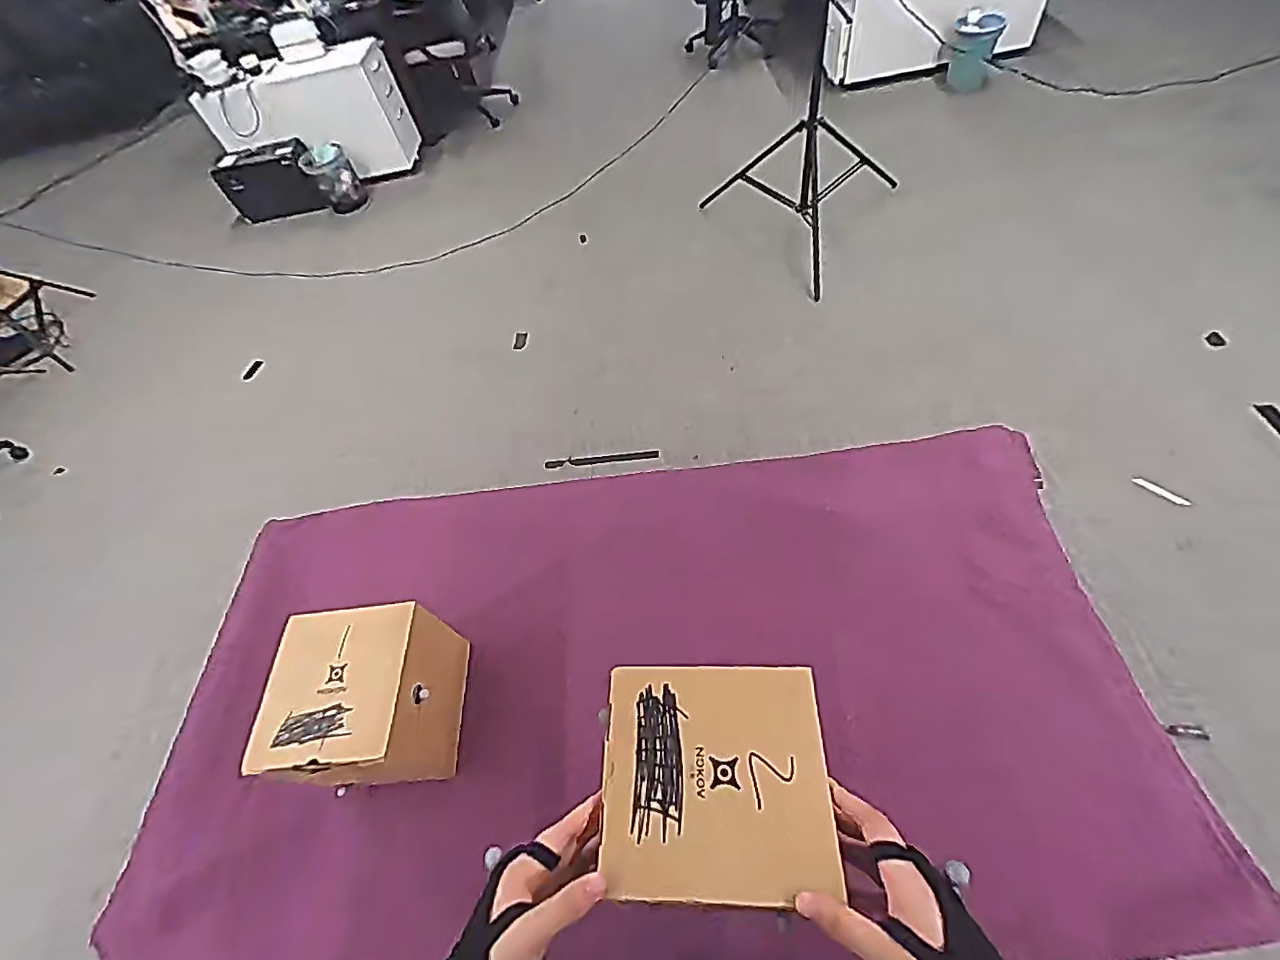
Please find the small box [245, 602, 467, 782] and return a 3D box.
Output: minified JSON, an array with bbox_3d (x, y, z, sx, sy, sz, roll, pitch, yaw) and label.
[{"bbox_3d":[-0.333,0.273,0.678,0.168,0.176,0.179,-7,55,5],"label":"small box"}]
